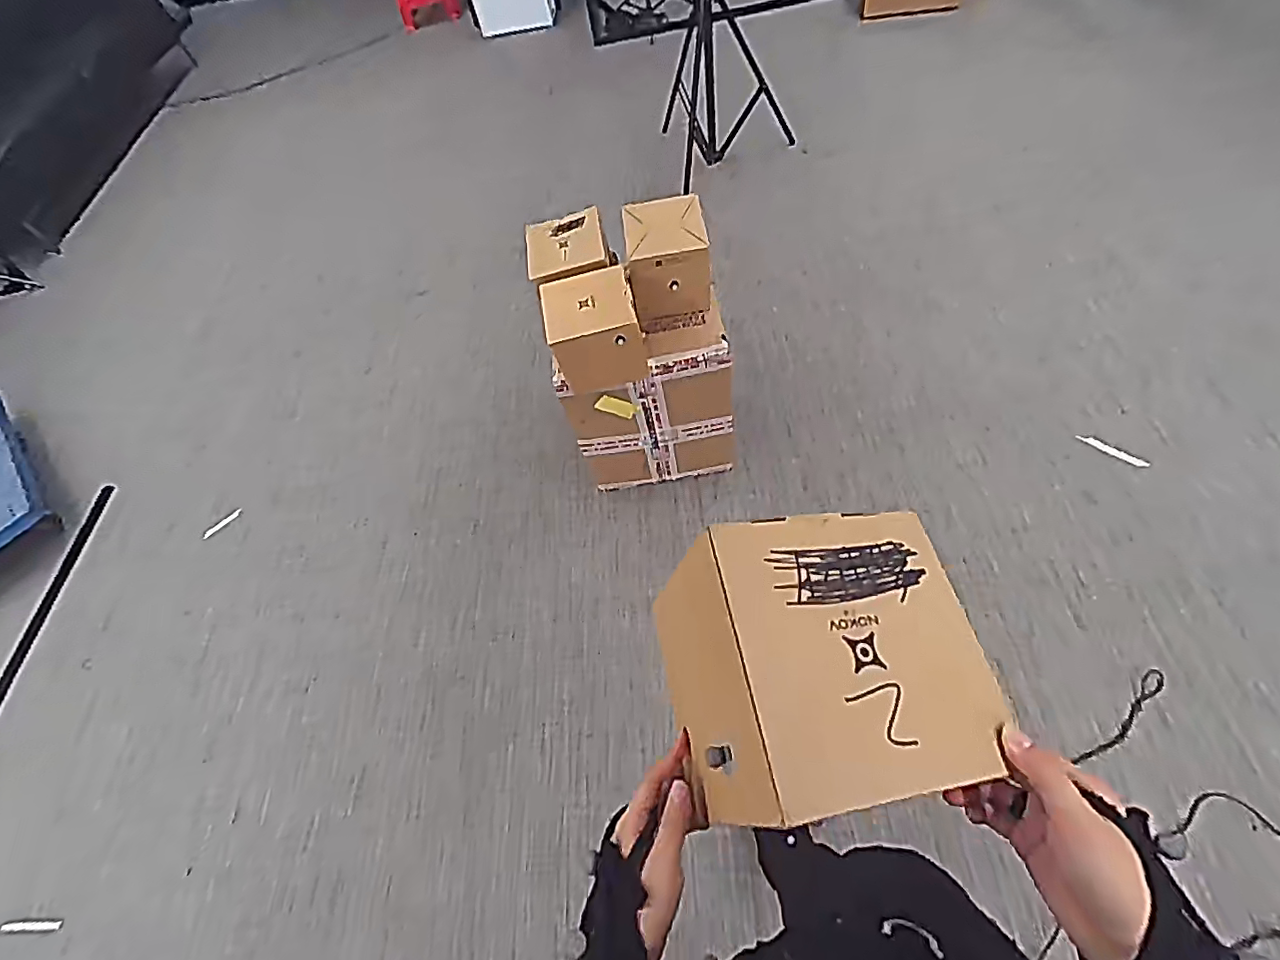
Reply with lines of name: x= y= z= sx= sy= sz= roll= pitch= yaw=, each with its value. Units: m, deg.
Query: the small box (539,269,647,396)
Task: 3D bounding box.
small box: x=-0.094 y=-0.297 z=1.118 sx=0.179 sy=0.176 sz=0.168 roll=-14 pitch=61 yaw=2

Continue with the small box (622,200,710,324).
small box: x=0.056 y=-0.476 z=1.185 sx=0.168 sy=0.176 sz=0.179 roll=-8 pitch=60 yaw=2
